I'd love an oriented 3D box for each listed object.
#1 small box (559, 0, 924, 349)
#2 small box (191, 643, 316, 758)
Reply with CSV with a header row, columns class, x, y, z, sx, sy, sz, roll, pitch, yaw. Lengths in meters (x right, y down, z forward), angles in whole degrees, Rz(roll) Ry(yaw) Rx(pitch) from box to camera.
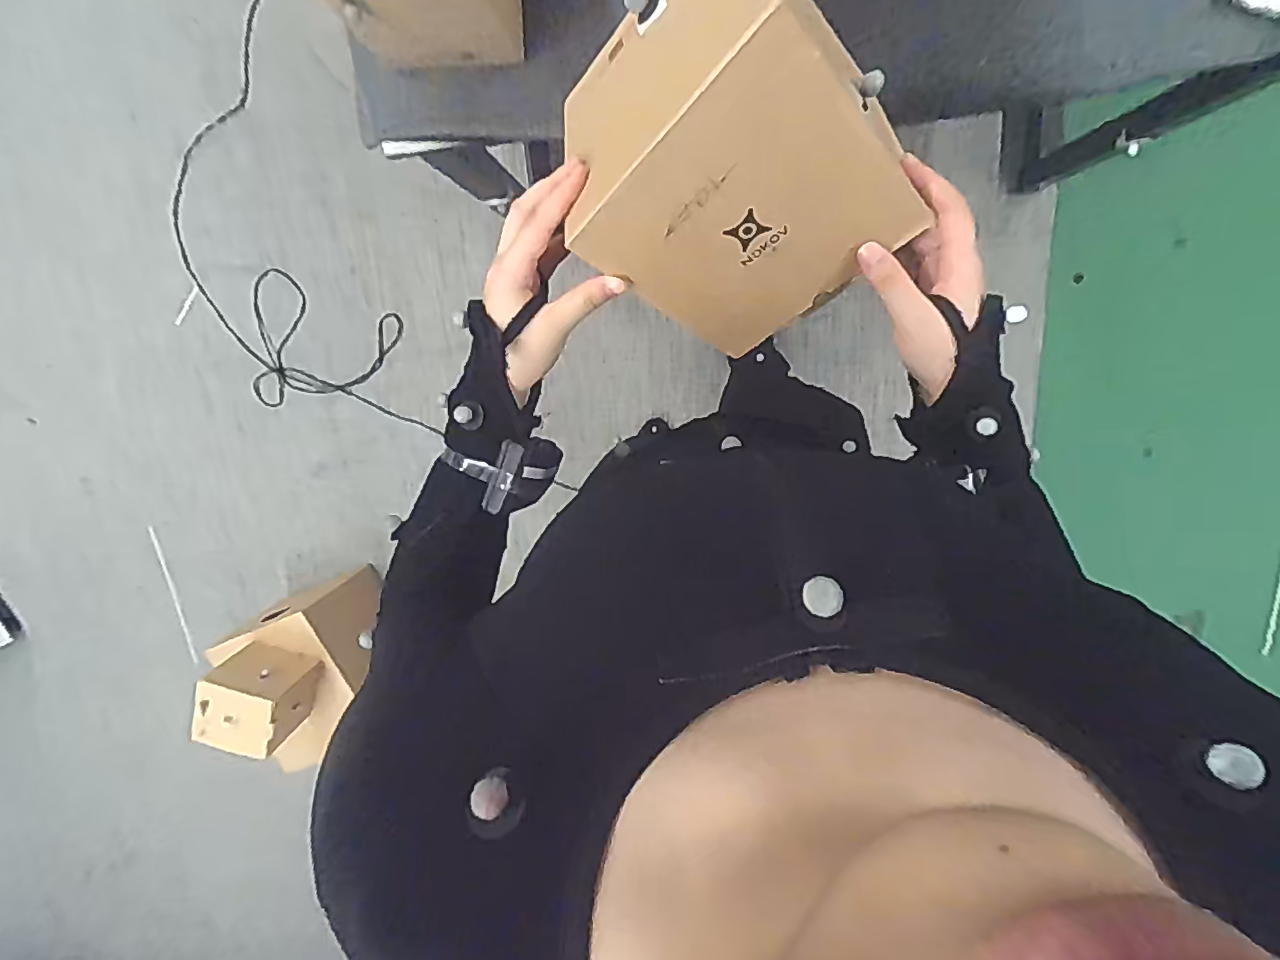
class,x,y,z,sx,sy,sz,roll,pitch,yaw
small box,0.060,-0.232,0.380,0.179,0.176,0.168,20,142,-36
small box,-0.906,0.513,1.281,0.179,0.176,0.168,17,104,-2
